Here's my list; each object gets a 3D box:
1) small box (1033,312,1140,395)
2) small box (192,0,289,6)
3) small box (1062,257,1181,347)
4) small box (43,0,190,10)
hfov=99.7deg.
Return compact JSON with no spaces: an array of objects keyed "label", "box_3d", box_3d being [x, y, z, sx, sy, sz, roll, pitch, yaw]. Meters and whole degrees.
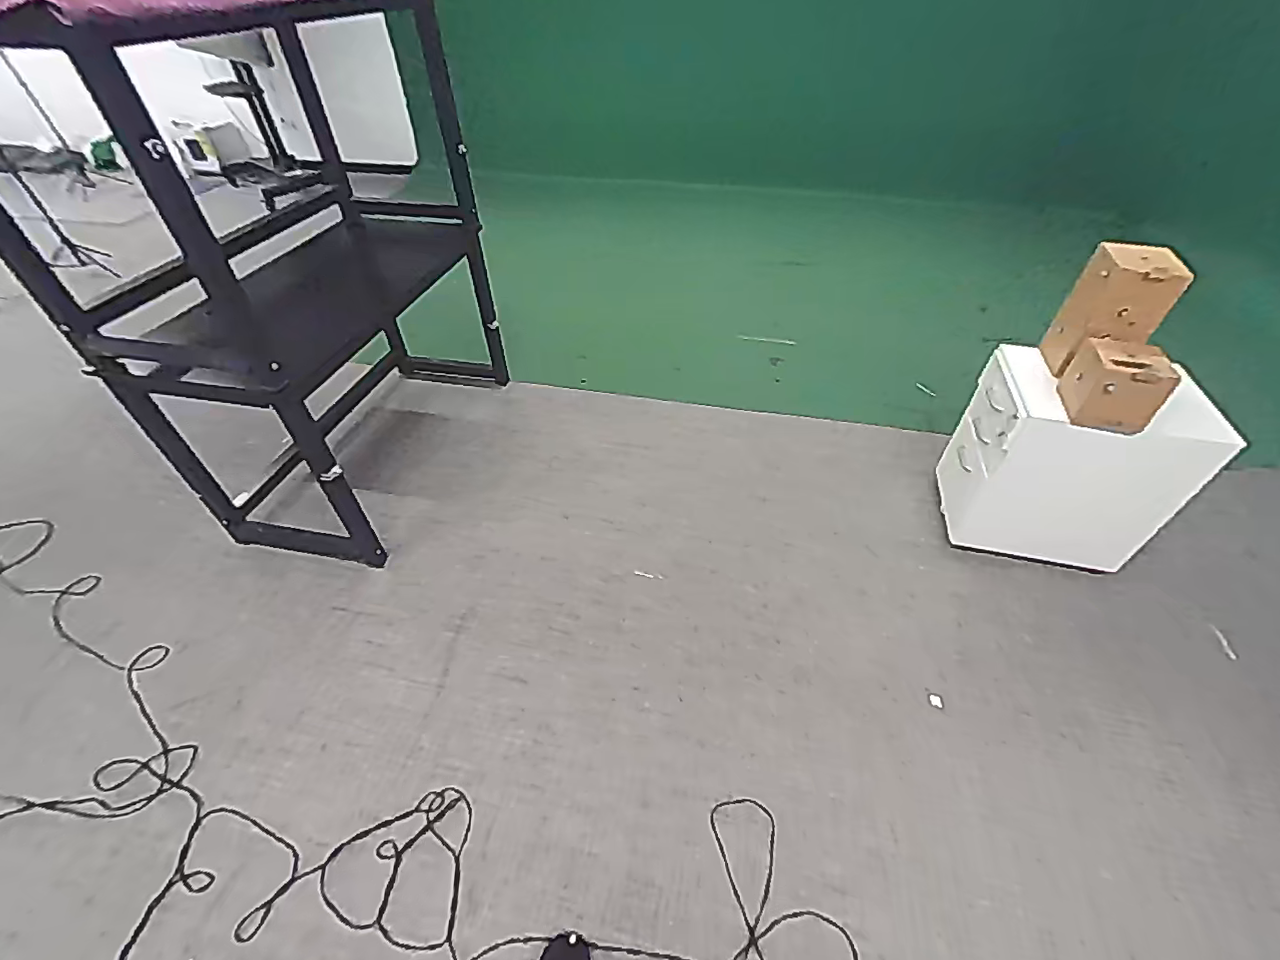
[{"label":"small box","box_3d":[1.323,-0.379,1.620,0.168,0.176,0.179,9,45,10]},{"label":"small box","box_3d":[-0.899,-1.153,1.179,0.168,0.176,0.179,7,45,8]},{"label":"small box","box_3d":[1.326,-0.497,1.506,0.168,0.176,0.179,11,47,11]},{"label":"small box","box_3d":[-0.957,-0.940,0.946,0.179,0.176,0.168,8,43,8]}]
